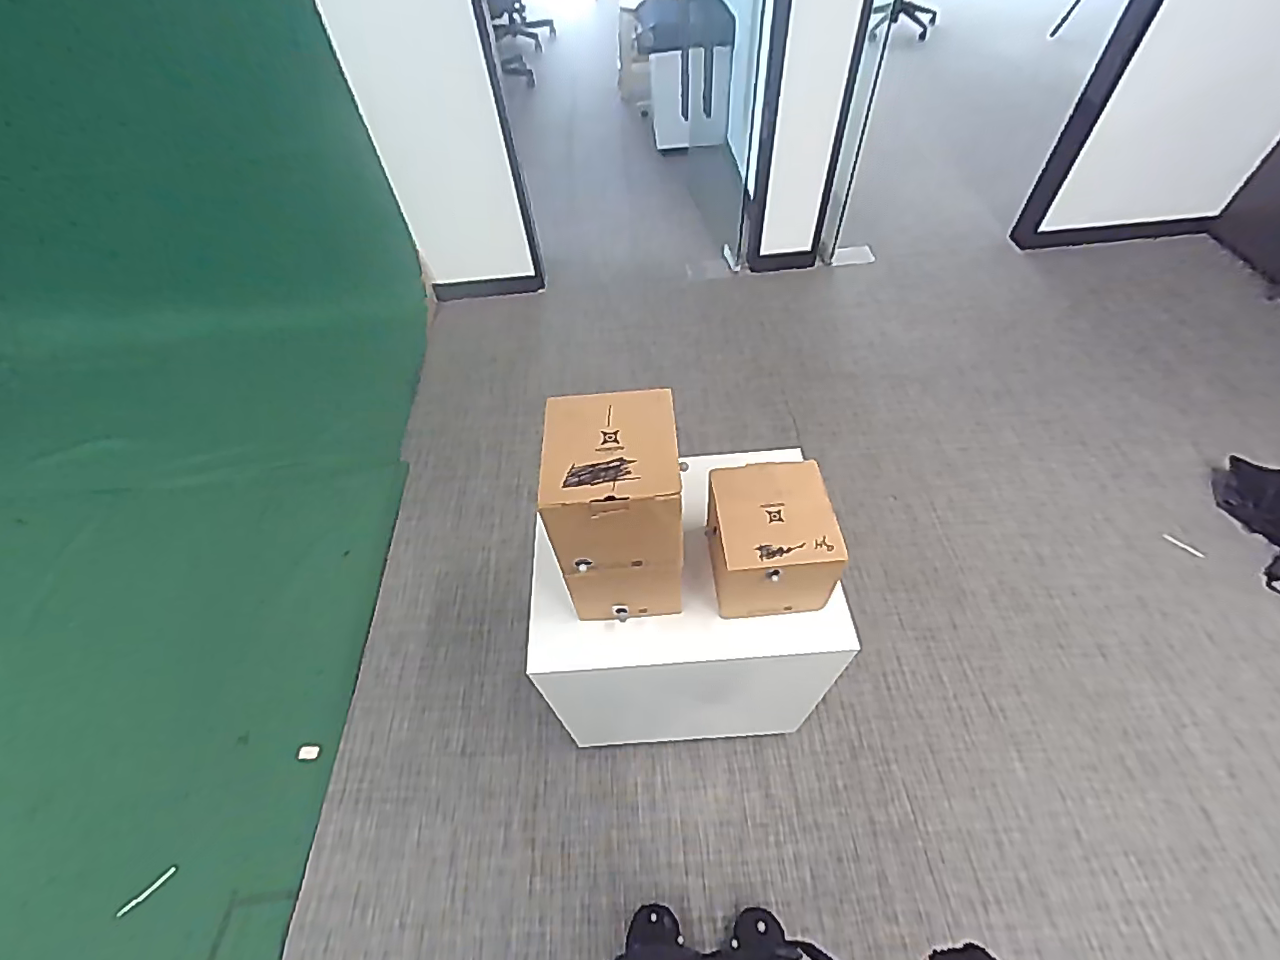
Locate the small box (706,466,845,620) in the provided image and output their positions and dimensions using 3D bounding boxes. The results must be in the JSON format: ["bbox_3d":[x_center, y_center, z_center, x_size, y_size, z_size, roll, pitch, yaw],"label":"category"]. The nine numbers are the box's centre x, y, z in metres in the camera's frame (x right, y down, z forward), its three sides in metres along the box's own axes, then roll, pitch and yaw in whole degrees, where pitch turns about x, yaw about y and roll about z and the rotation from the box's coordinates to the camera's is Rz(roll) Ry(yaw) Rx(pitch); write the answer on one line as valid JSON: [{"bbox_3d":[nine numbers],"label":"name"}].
[{"bbox_3d":[0.196,0.100,0.845,0.168,0.176,0.179,-5,51,1],"label":"small box"}]

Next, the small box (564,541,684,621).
[{"bbox_3d":[-0.024,0.100,0.844,0.168,0.176,0.179,-7,54,0],"label":"small box"}]

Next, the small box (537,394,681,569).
[{"bbox_3d":[-0.033,0.010,0.728,0.168,0.176,0.179,-4,51,2],"label":"small box"}]
